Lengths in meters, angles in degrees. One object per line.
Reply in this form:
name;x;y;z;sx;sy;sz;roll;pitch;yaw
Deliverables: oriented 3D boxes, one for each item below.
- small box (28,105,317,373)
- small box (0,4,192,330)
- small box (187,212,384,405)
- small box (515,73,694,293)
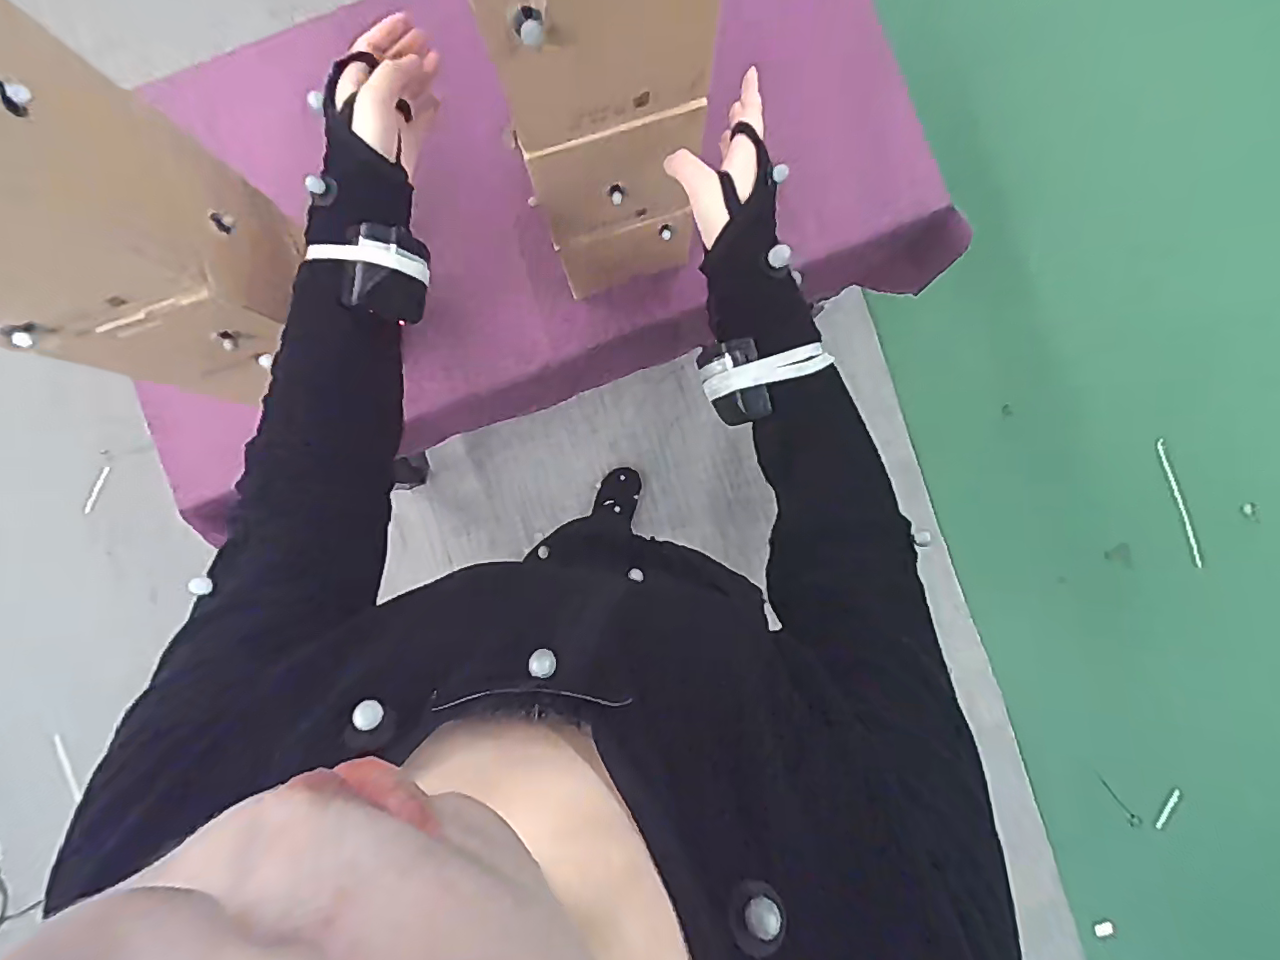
small box;-0.466;-0.217;0.544;0.168;0.176;0.179;-17;89;0
small box;-0.475;-0.222;0.380;0.168;0.176;0.179;-21;88;-1
small box;-0.464;-0.210;0.708;0.179;0.176;0.168;-19;89;0
small box;-0.040;-0.368;0.706;0.179;0.176;0.168;-18;89;0
